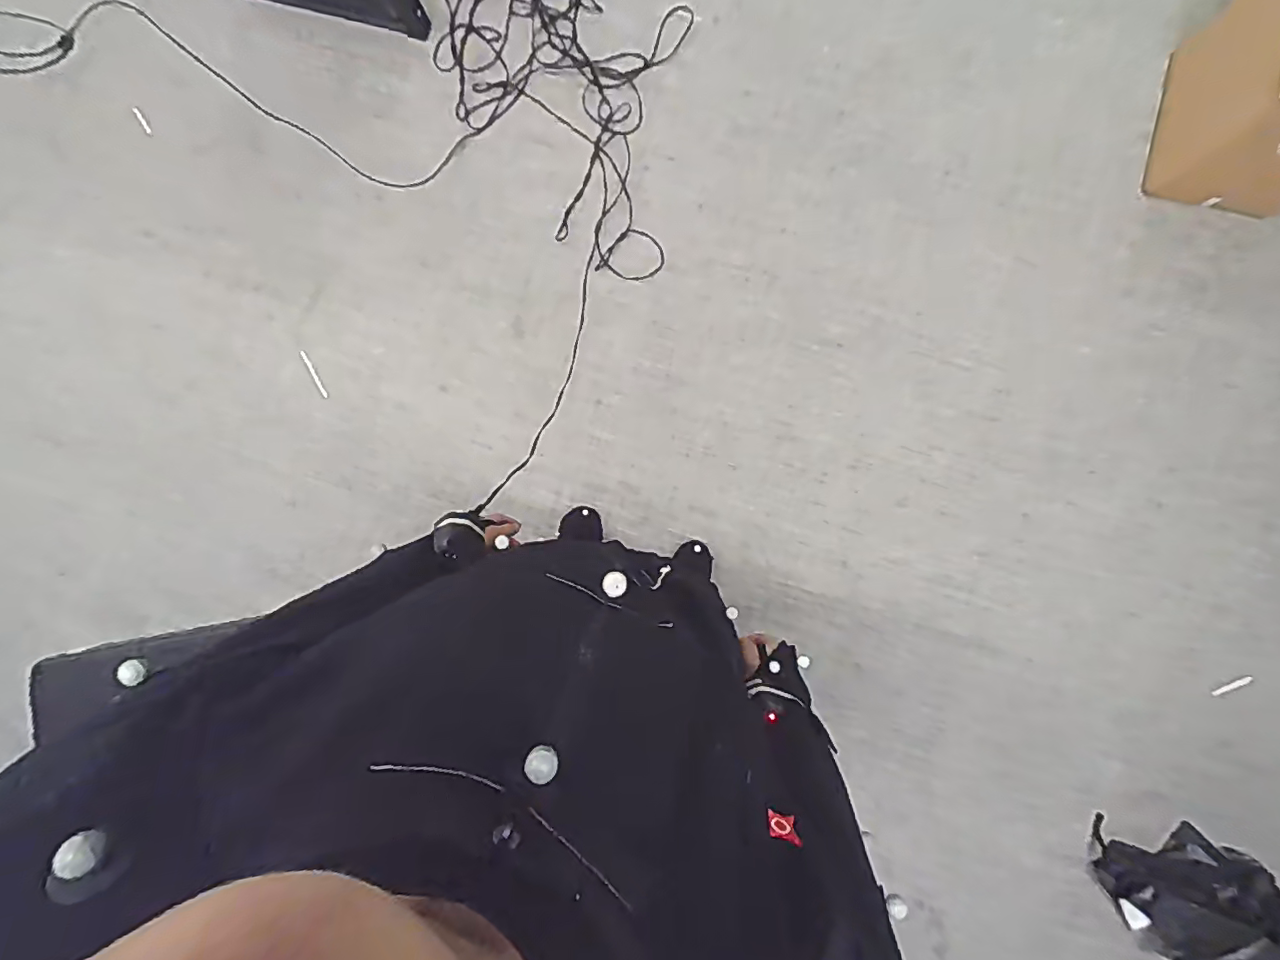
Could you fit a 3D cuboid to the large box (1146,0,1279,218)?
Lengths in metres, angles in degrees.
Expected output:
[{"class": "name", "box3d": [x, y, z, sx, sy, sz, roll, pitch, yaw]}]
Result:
[{"class": "large box", "box3d": [1.461, -0.888, 1.221, 0.320, 0.320, 0.408, 14, 88, 4]}]
